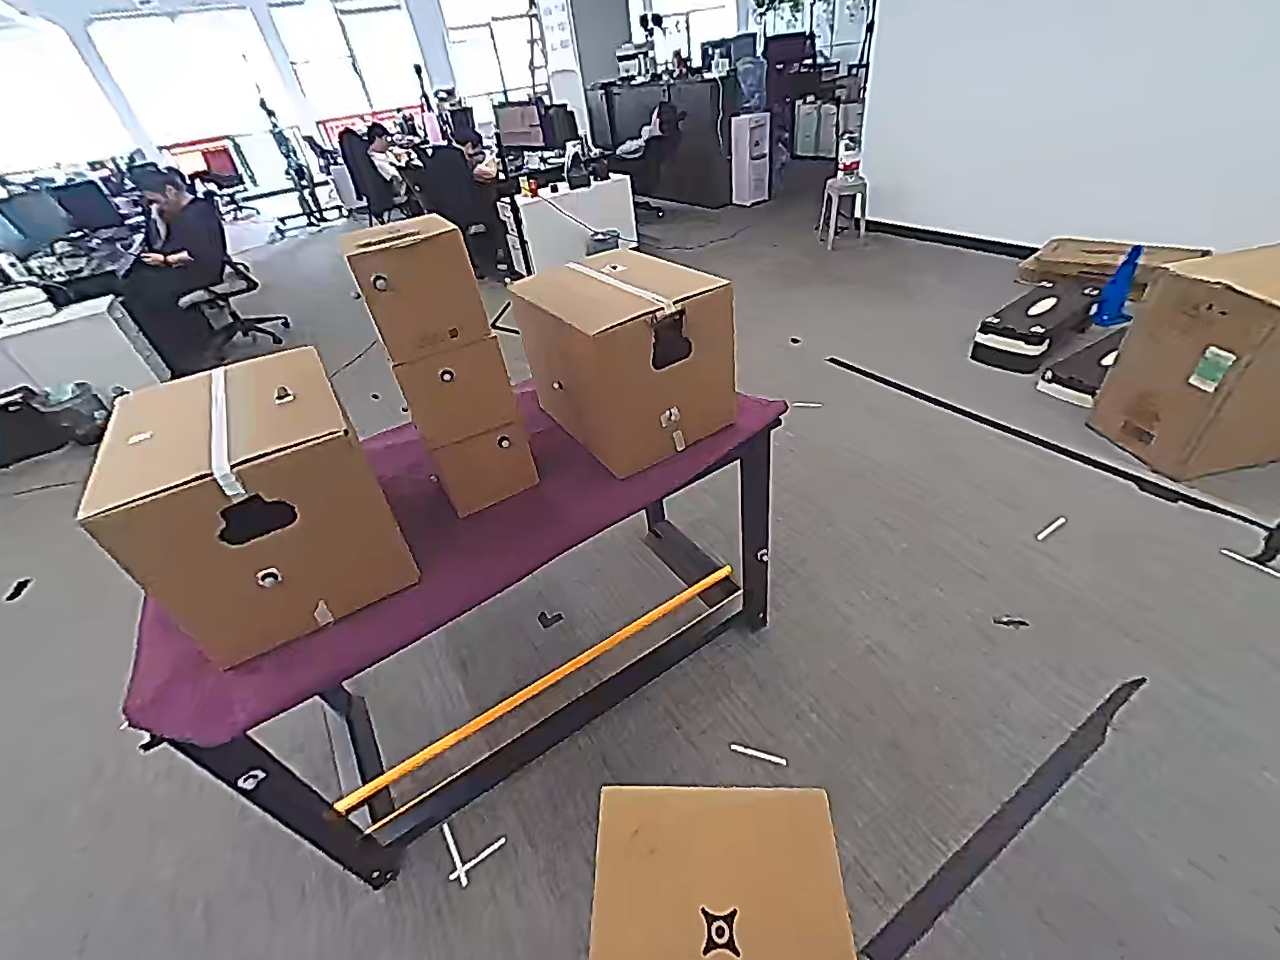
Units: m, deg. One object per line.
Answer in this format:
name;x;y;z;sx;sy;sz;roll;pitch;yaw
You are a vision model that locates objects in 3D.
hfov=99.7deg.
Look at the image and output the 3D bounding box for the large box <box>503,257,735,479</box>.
large box;-0.043;-0.262;1.181;0.320;0.320;0.408;-26;40;-22
